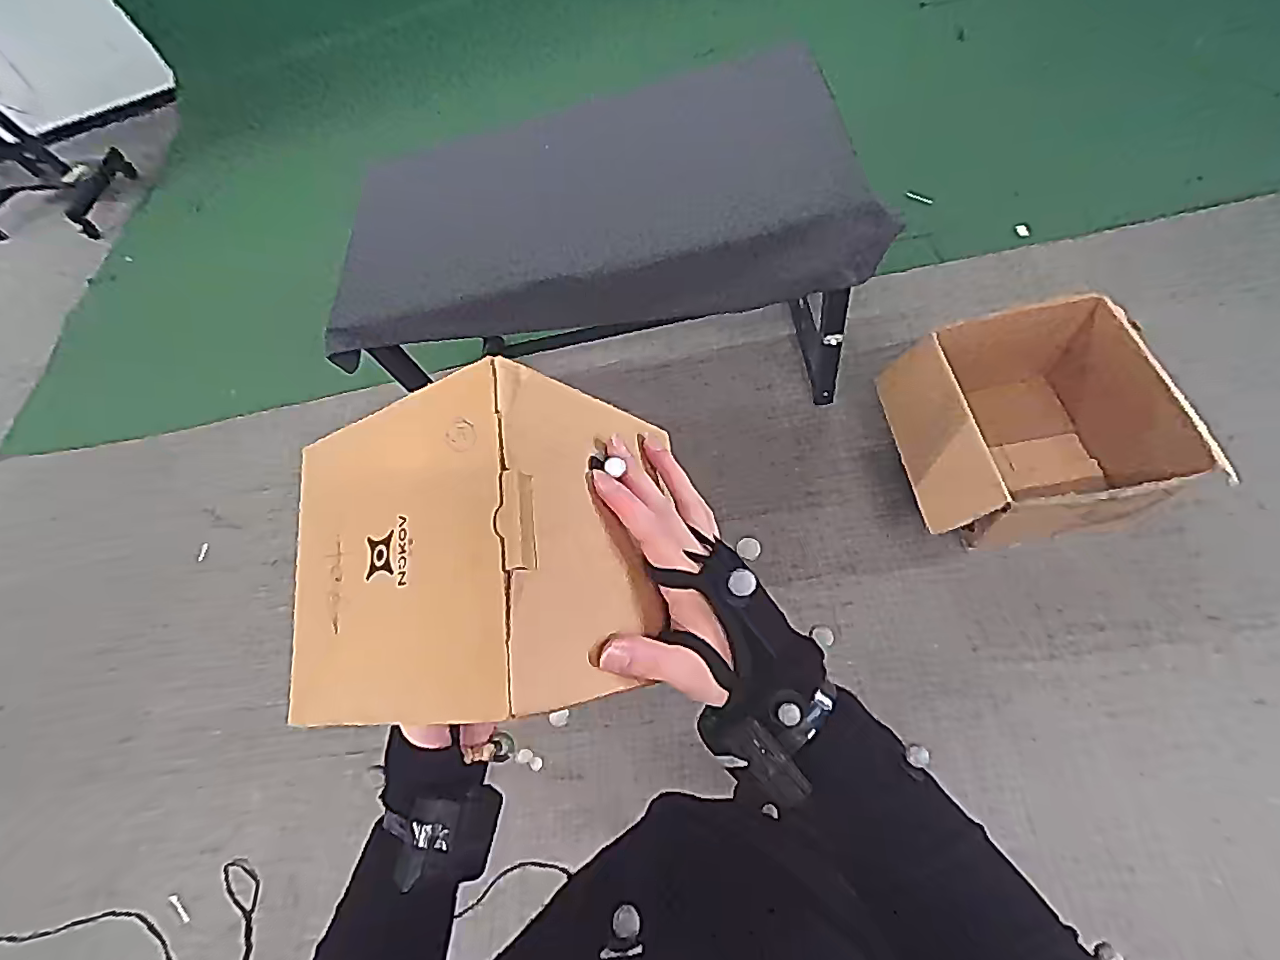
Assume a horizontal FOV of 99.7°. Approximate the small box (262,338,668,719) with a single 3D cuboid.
[{"bbox_3d":[-0.094,0.043,0.333,0.179,0.176,0.168,-16,72,30],"label":"small box"}]
